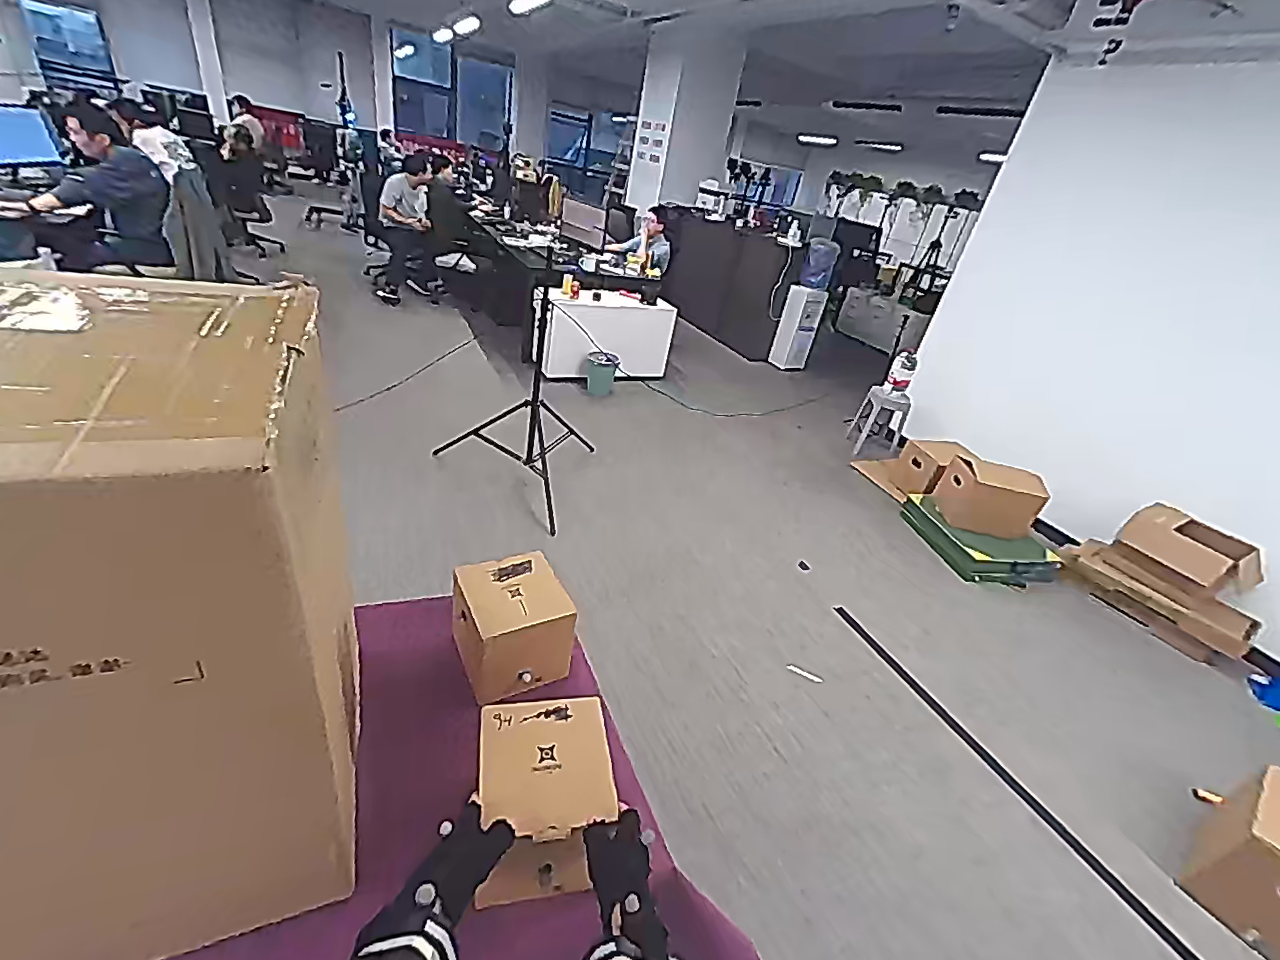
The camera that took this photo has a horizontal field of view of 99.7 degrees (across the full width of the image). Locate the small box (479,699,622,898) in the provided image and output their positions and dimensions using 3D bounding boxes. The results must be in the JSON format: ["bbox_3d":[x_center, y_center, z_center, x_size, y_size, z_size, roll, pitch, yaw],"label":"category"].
[{"bbox_3d":[-0.126,0.425,0.725,0.168,0.176,0.179,2,33,-15],"label":"small box"}]
